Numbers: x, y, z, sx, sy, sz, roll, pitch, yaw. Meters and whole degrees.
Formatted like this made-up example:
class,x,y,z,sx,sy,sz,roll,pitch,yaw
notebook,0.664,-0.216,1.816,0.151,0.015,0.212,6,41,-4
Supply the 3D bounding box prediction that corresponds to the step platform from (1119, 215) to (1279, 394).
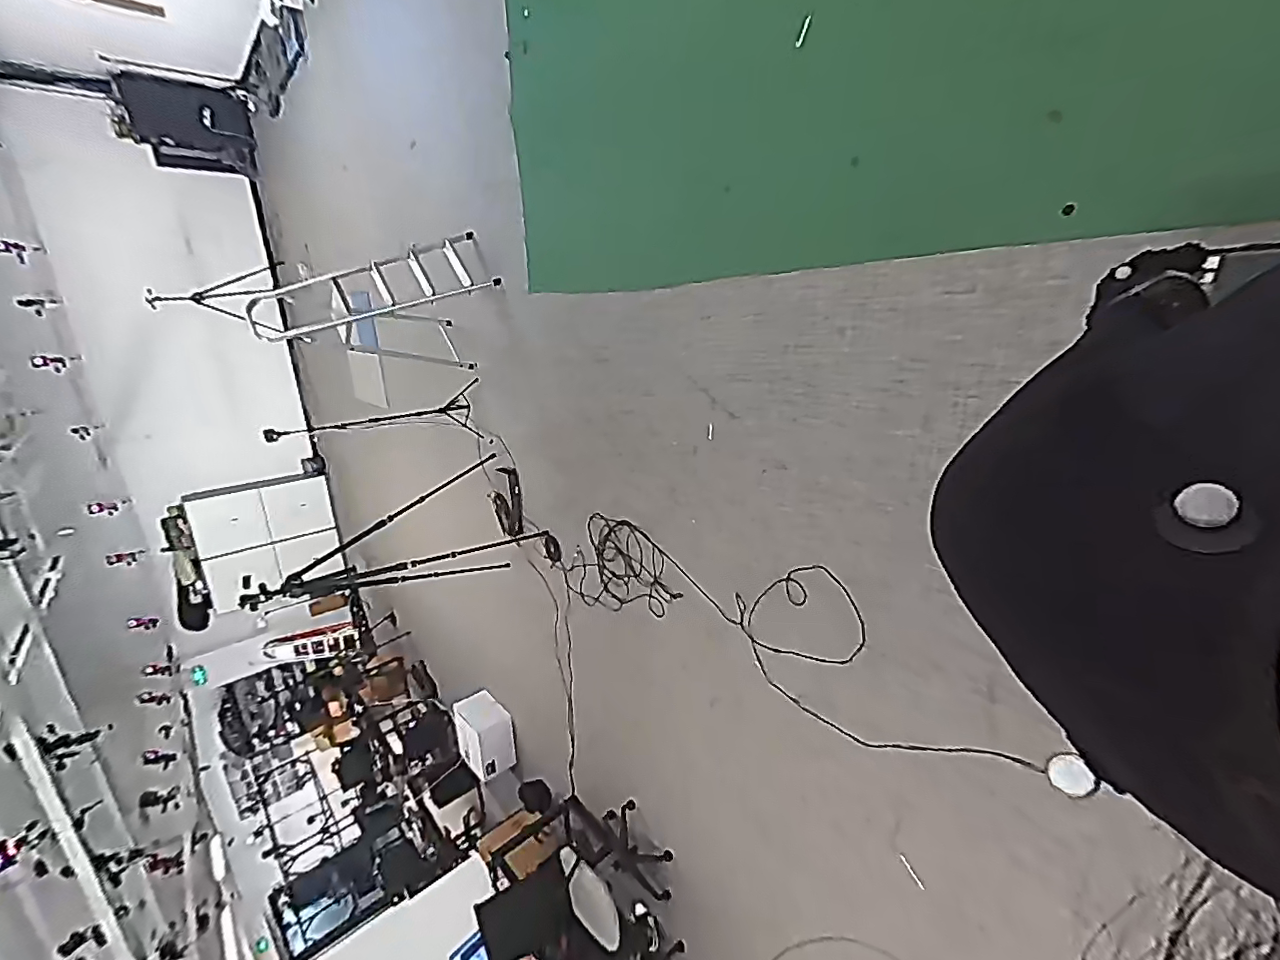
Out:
class,x,y,z,sx,sy,sz,roll,pitch,yaw
step platform,1.166,-0.266,0.783,0.684,0.204,0.286,15,115,47
